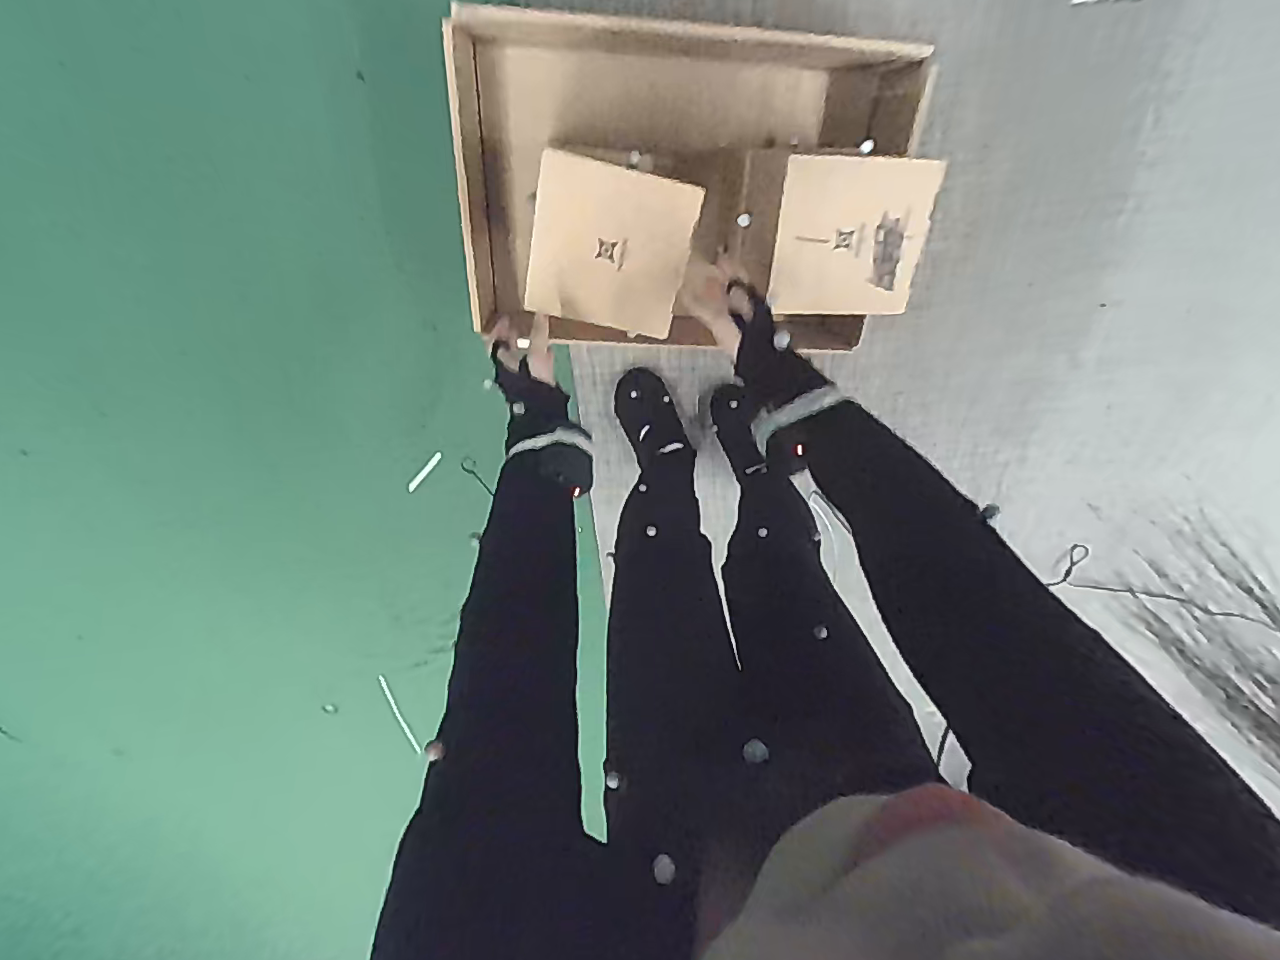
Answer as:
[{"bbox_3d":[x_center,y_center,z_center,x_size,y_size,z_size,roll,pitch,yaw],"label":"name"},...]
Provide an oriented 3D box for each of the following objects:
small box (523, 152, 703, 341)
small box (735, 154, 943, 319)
[{"bbox_3d":[-0.042,-0.289,0.668,0.179,0.176,0.168,8,120,-12],"label":"small box"},{"bbox_3d":[0.230,-0.308,0.678,0.179,0.176,0.168,-1,122,-4],"label":"small box"}]
